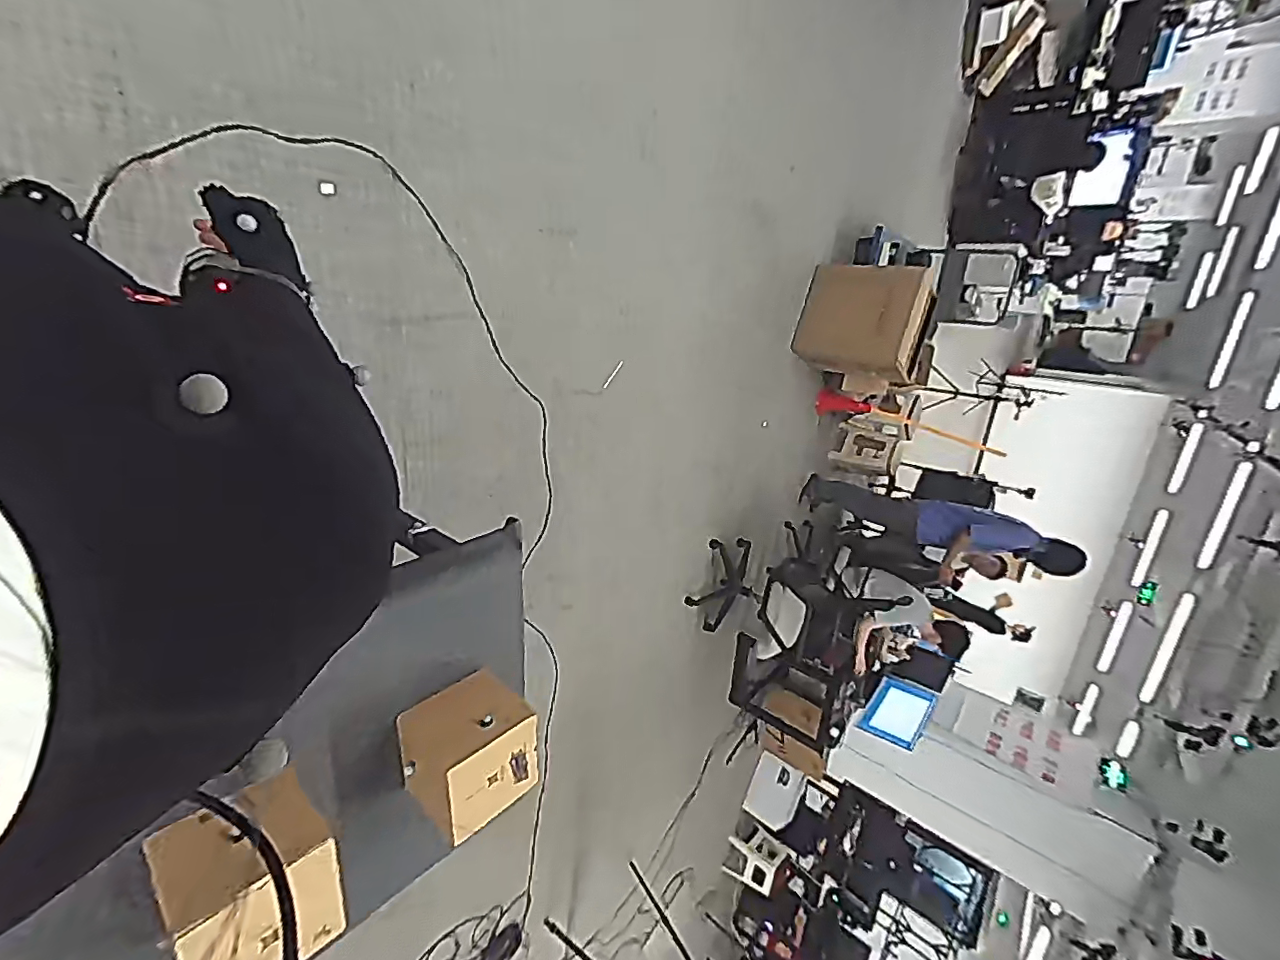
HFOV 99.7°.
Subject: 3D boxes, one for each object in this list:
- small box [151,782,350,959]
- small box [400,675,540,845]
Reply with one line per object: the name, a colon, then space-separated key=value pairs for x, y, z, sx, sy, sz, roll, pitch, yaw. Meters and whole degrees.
small box: x=-0.514 y=0.542 z=0.719 sx=0.168 sy=0.176 sz=0.179 roll=-17 pitch=117 yaw=-48
small box: x=-0.300 y=0.483 z=0.965 sx=0.179 sy=0.176 sz=0.168 roll=-19 pitch=119 yaw=-45
